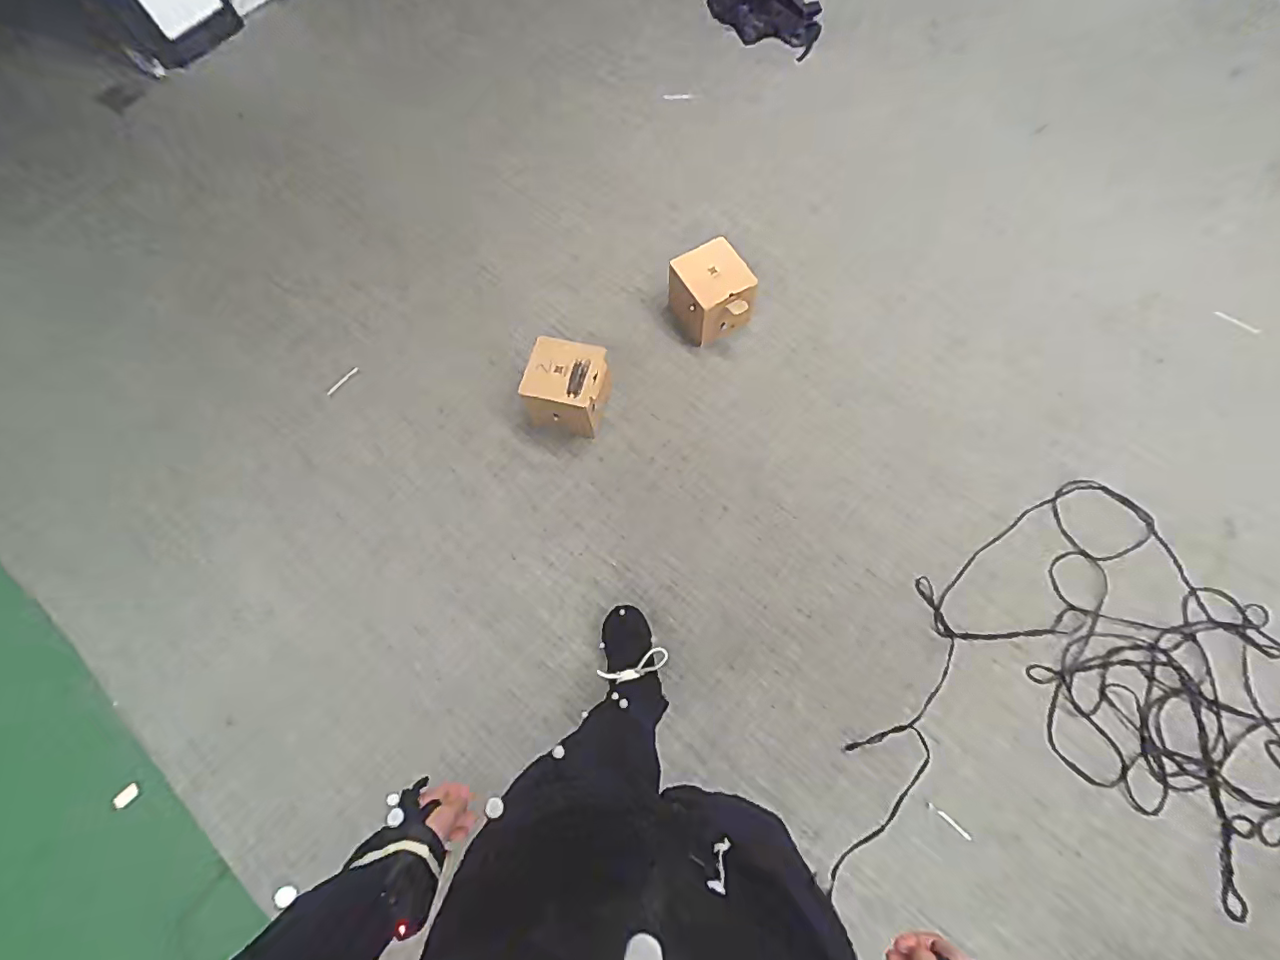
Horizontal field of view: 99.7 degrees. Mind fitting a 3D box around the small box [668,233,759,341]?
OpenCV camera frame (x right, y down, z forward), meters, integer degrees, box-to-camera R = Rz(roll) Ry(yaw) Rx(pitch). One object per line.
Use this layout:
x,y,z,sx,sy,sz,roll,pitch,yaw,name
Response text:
0.185,-0.505,1.431,0.168,0.176,0.179,-29,73,-9,small box
